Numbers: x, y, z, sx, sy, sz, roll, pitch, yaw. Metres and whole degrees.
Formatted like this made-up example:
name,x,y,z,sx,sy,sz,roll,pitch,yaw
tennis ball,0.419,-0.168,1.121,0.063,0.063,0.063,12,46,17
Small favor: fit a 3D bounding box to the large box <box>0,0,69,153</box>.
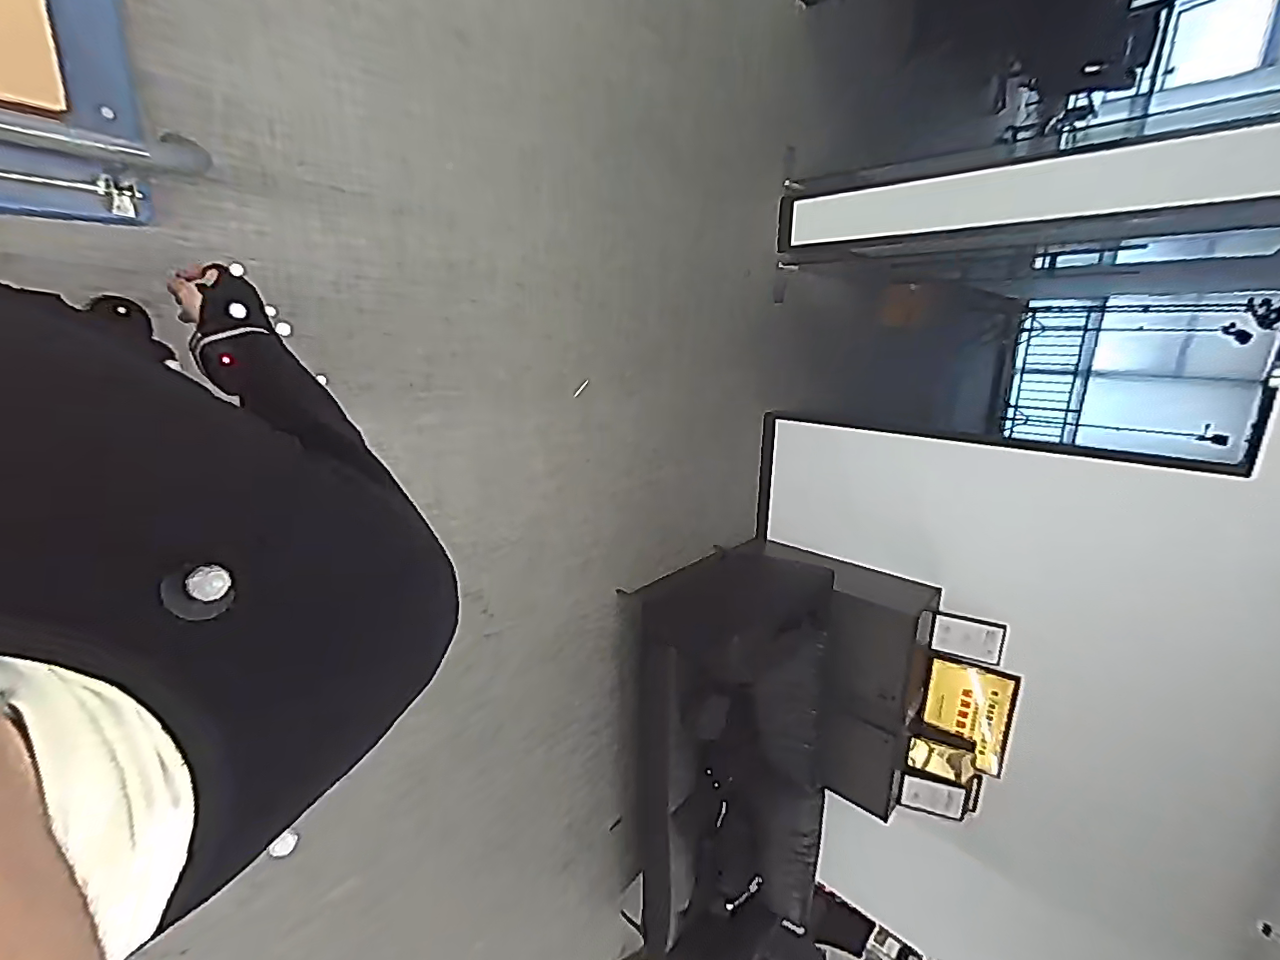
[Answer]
name,x,y,z,sx,sy,sz,roll,pitch,yaw
large box,-1.024,-0.712,0.707,0.320,0.320,0.408,-15,111,-47
